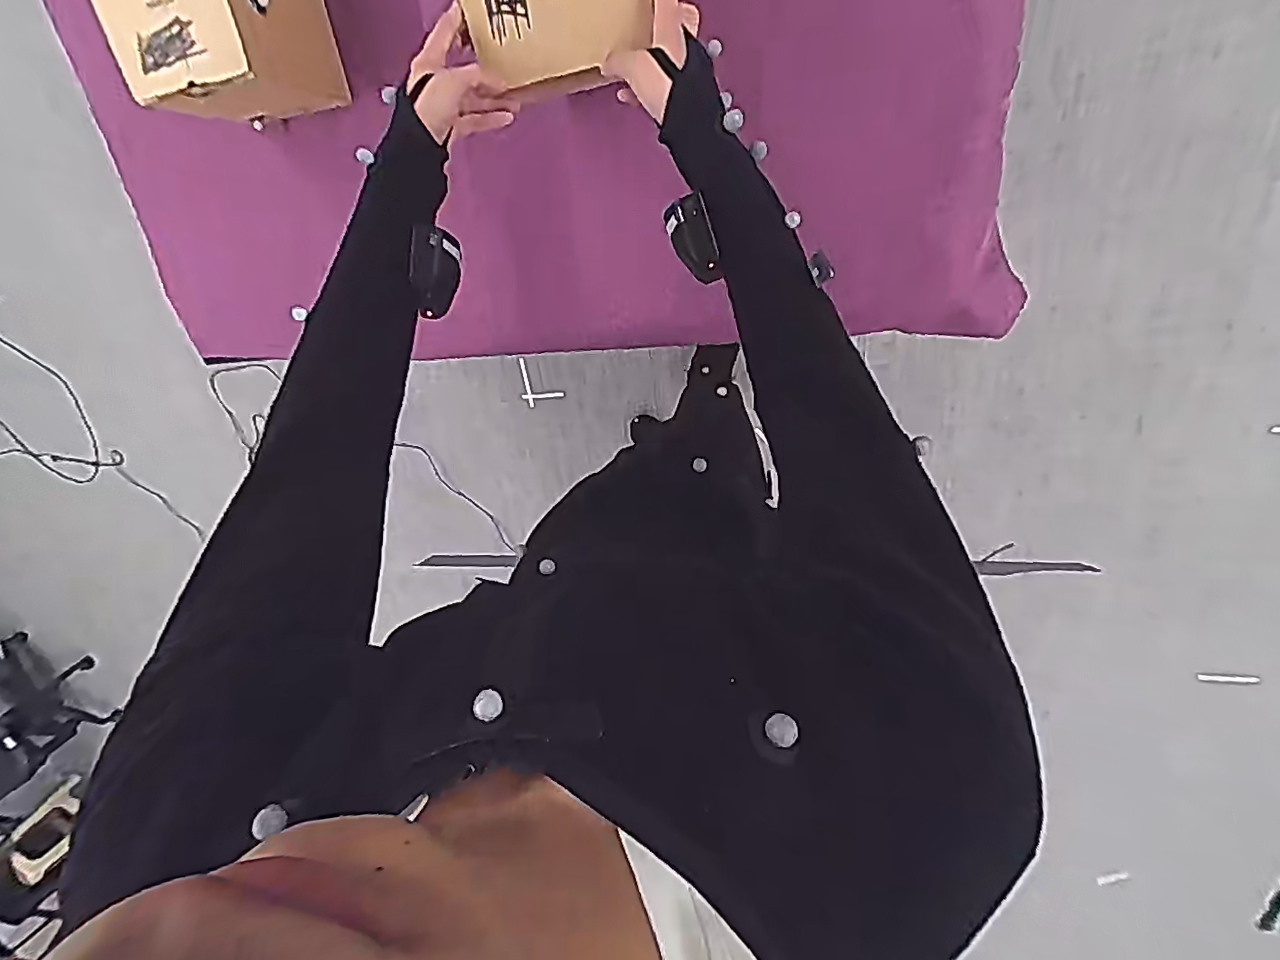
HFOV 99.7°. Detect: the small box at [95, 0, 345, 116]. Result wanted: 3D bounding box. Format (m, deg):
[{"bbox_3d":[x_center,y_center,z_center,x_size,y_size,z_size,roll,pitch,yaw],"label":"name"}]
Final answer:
[{"bbox_3d":[-0.490,-0.548,0.636,0.168,0.176,0.179,-2,115,13],"label":"small box"}]
